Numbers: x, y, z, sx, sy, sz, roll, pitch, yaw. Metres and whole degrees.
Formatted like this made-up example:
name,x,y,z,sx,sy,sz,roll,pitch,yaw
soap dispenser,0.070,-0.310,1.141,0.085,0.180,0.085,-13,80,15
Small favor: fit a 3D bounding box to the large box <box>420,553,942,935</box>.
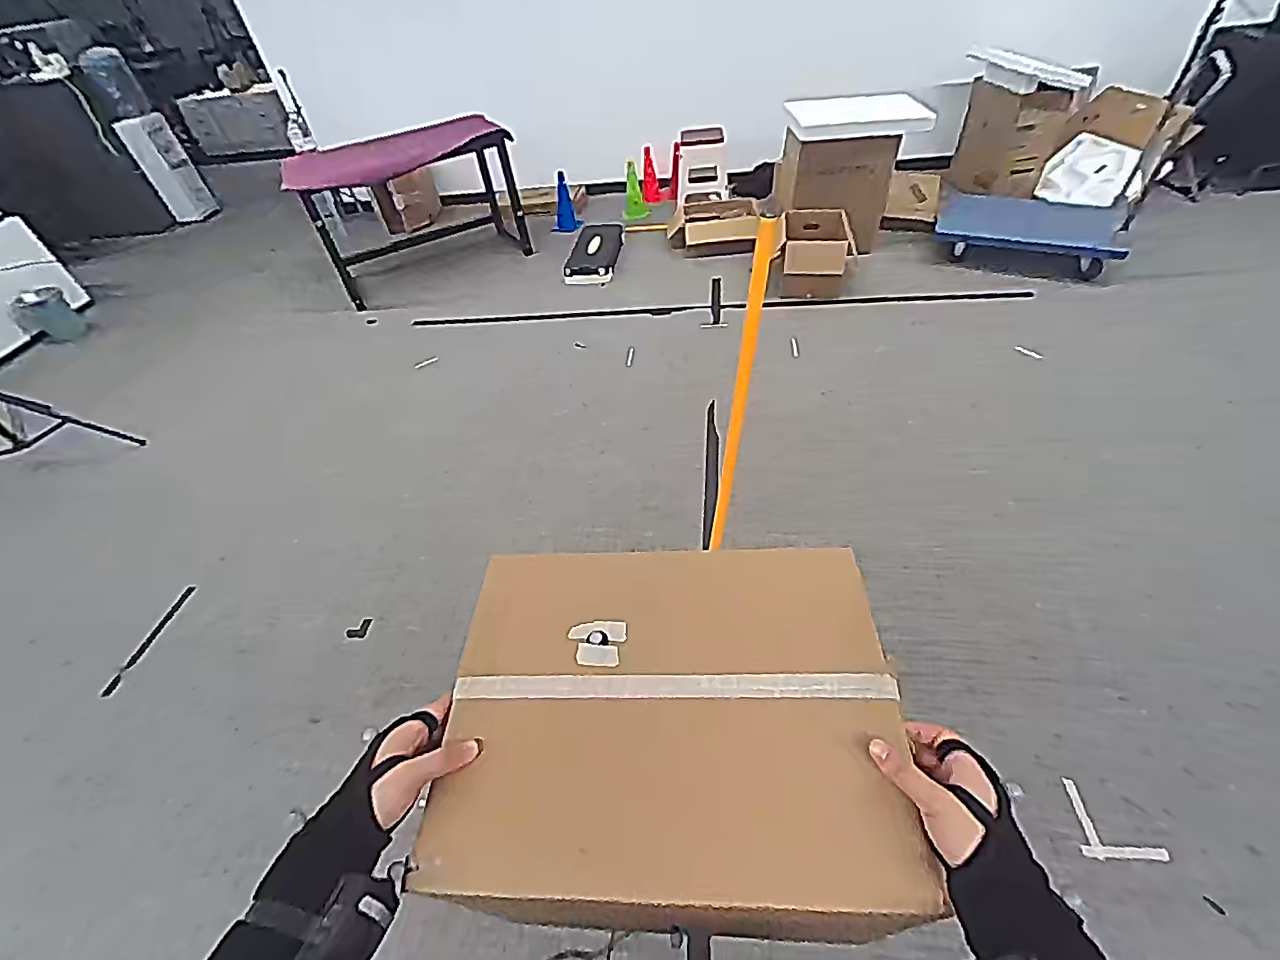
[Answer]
name,x,y,z,sx,sy,sz,roll,pitch,yaw
large box,0.045,0.306,0.614,0.408,0.320,0.320,-4,45,7
